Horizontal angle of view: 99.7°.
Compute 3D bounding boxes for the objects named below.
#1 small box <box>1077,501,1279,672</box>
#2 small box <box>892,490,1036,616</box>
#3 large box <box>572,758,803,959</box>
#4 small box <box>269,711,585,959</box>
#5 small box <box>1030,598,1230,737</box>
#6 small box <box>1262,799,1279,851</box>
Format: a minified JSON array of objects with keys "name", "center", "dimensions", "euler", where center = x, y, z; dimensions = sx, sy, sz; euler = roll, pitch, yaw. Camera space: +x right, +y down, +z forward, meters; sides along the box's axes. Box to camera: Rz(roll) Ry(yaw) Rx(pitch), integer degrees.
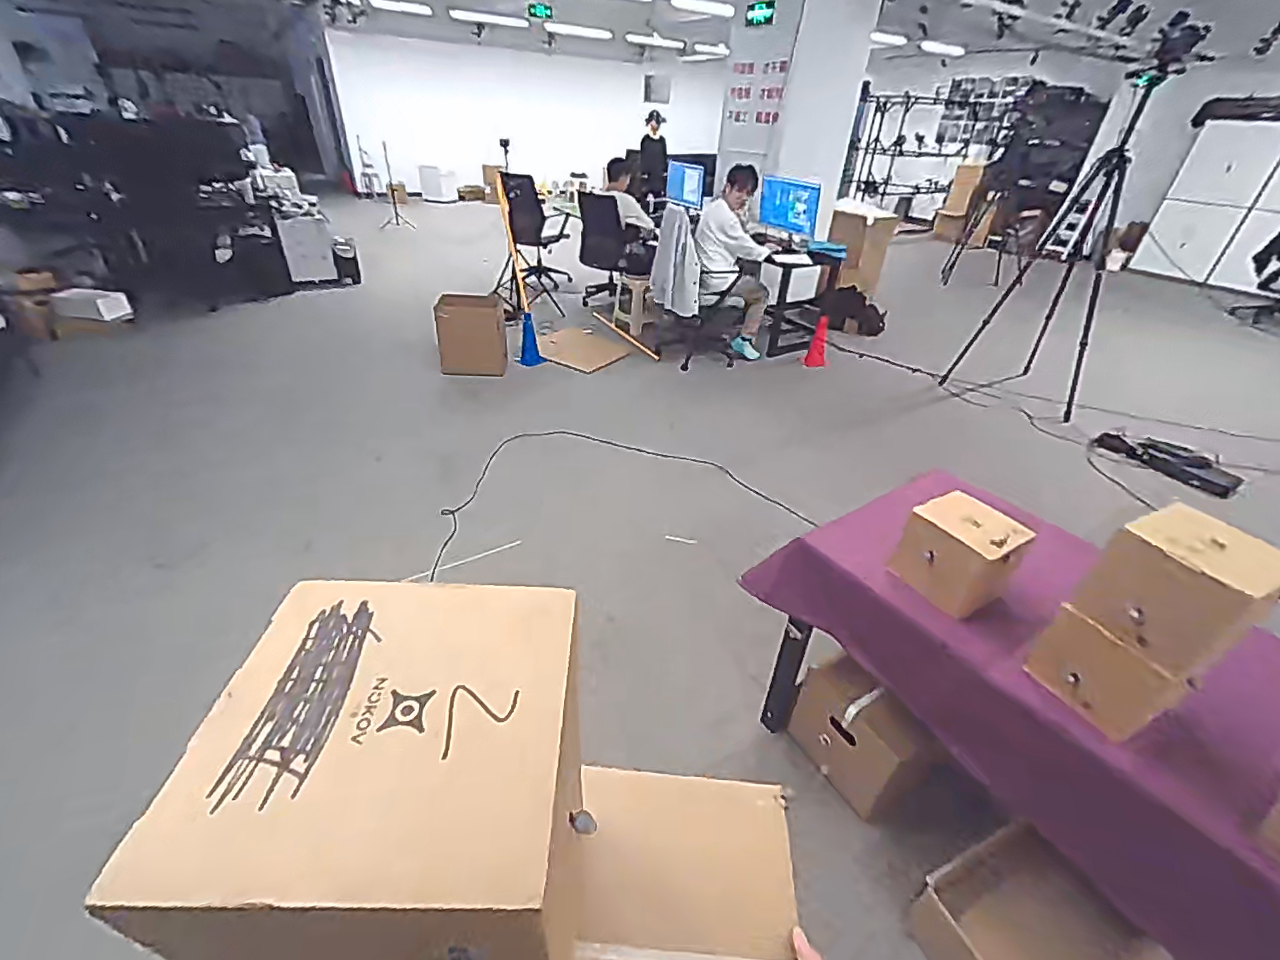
[{"name":"small box","center":[0.835,0.161,0.834],"dimensions":[0.179,0.176,0.168],"euler":[-13,37,-21]},{"name":"small box","center":[0.663,0.149,1.128],"dimensions":[0.168,0.176,0.179],"euler":[-17,38,-26]},{"name":"large box","center":[-0.065,0.516,0.562],"dimensions":[0.408,0.320,0.320],"euler":[5,39,1]},{"name":"small box","center":[-0.136,0.306,0.428],"dimensions":[0.179,0.176,0.168],"euler":[2,37,-1]},{"name":"small box","center":[0.821,0.298,0.924],"dimensions":[0.179,0.176,0.168],"euler":[-14,37,-22]},{"name":"small box","center":[0.978,0.459,0.694],"dimensions":[0.179,0.176,0.168],"euler":[-16,38,-27]}]
